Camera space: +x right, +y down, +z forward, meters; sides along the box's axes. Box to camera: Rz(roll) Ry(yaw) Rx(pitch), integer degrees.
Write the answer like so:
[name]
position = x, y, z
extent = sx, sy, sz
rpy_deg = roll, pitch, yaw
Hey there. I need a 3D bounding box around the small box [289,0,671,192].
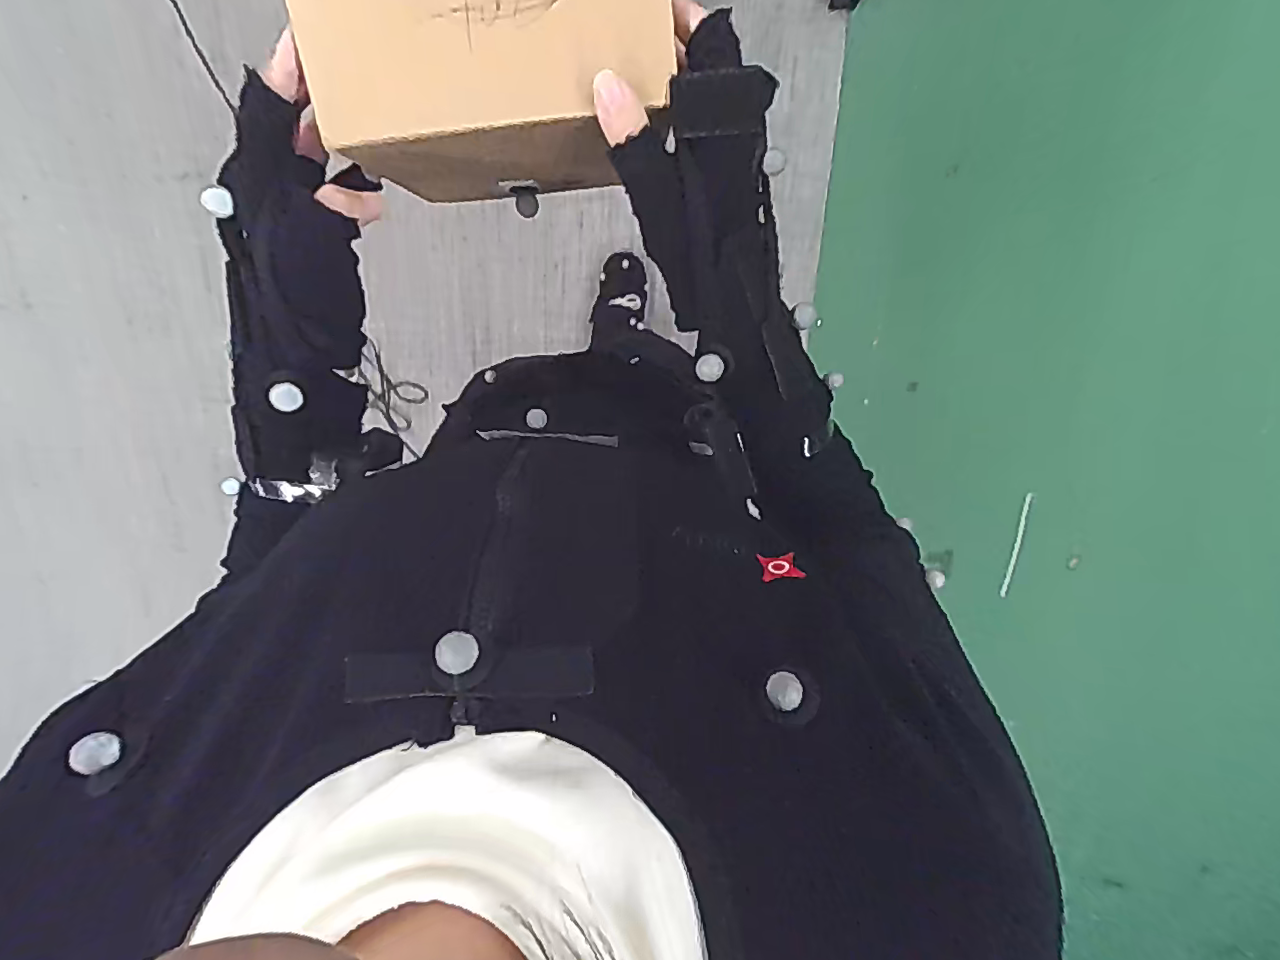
[small box]
position = -0.077, -0.278, 0.298
extent = 0.168, 0.176, 0.179
rpy_deg = -6, 109, 0
